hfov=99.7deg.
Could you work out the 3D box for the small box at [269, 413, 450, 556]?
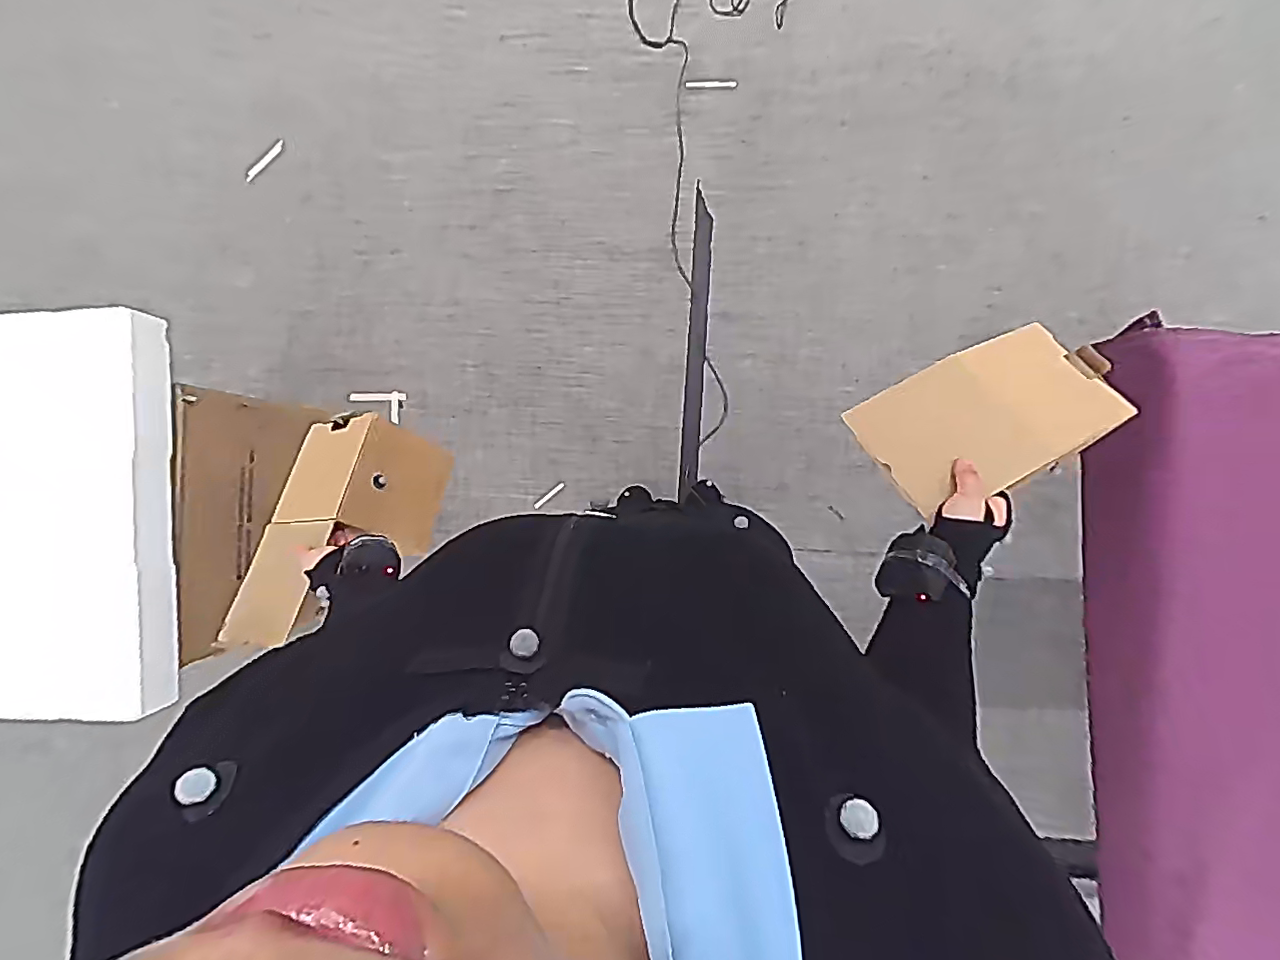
[{"bbox_3d":[-0.434,0.018,0.862,0.168,0.176,0.179,-4,63,28],"label":"small box"}]
